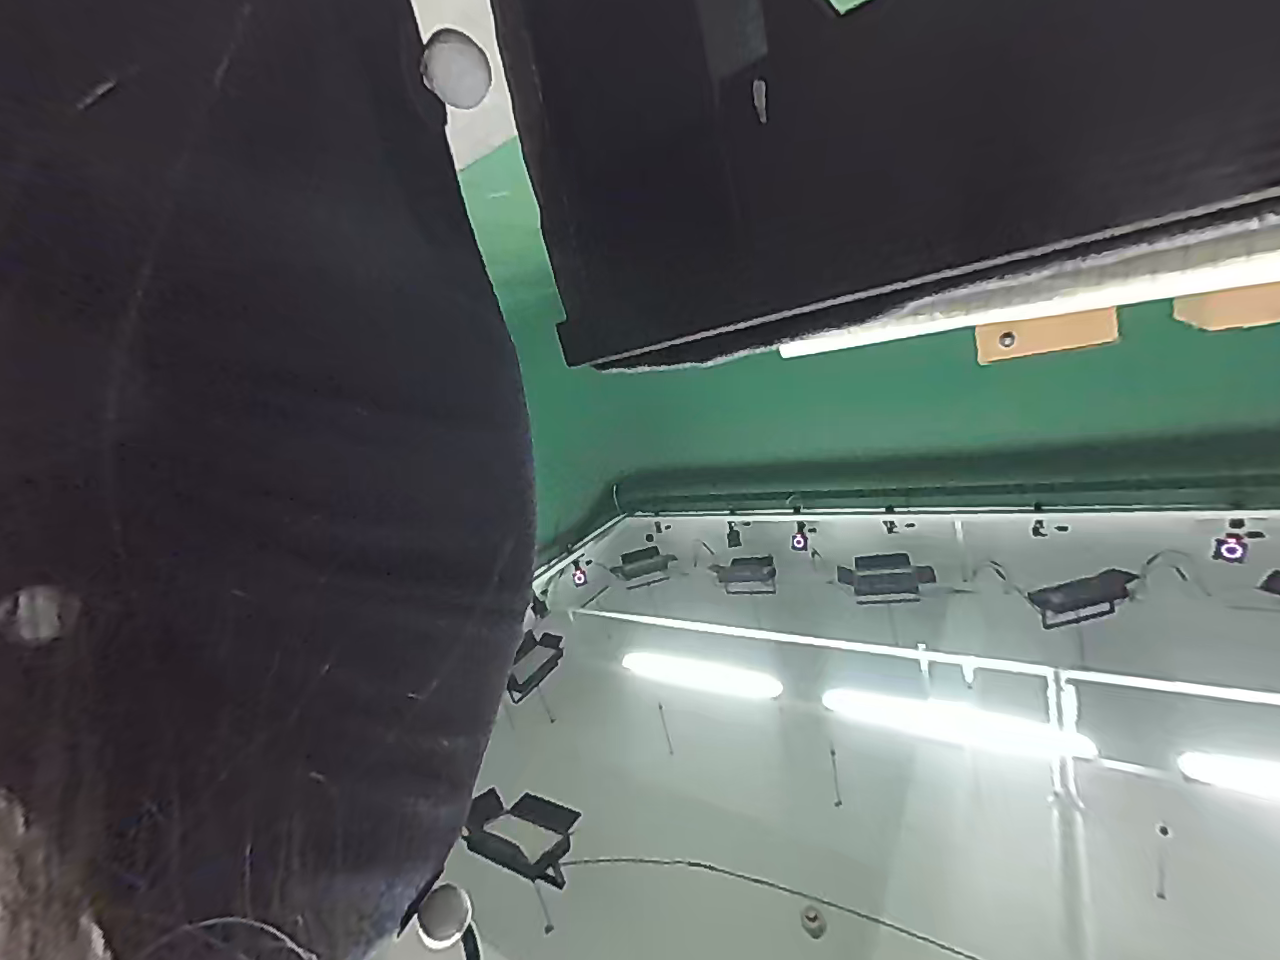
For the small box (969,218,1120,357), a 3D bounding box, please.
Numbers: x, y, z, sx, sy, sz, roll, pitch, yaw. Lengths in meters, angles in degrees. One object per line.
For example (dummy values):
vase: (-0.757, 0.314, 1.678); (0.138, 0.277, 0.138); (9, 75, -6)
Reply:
small box: (0.647, -0.312, 0.879); (0.179, 0.176, 0.168); (-5, -163, 33)
